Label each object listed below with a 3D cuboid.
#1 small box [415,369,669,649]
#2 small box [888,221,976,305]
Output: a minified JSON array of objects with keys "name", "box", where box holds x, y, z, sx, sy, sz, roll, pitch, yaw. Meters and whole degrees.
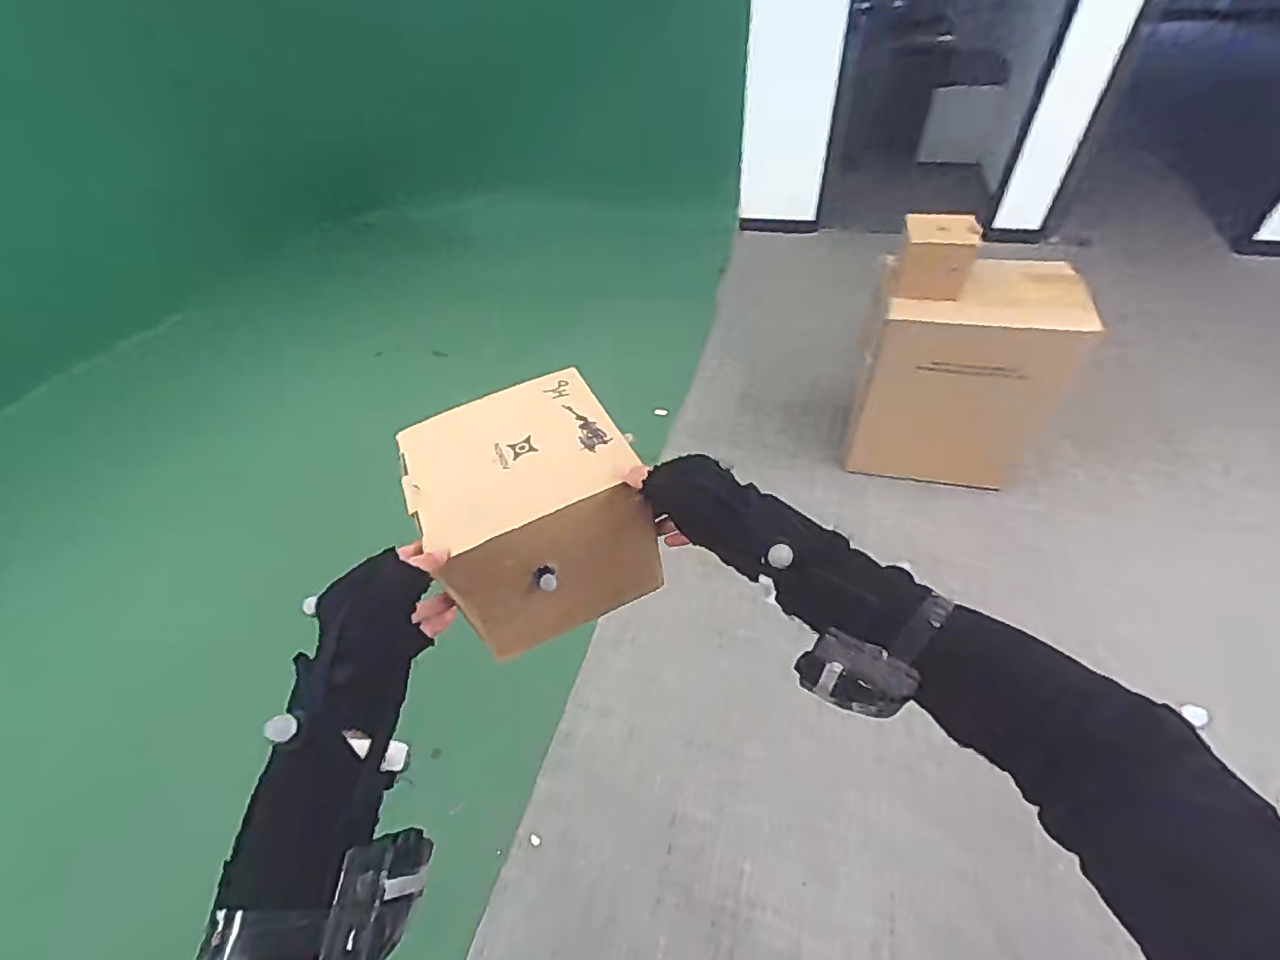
[{"name":"small box","box":[-0.086,0.030,0.515,0.179,0.176,0.168,-22,48,-11]},{"name":"small box","box":[0.830,-0.622,1.554,0.179,0.176,0.168,7,51,13]}]
